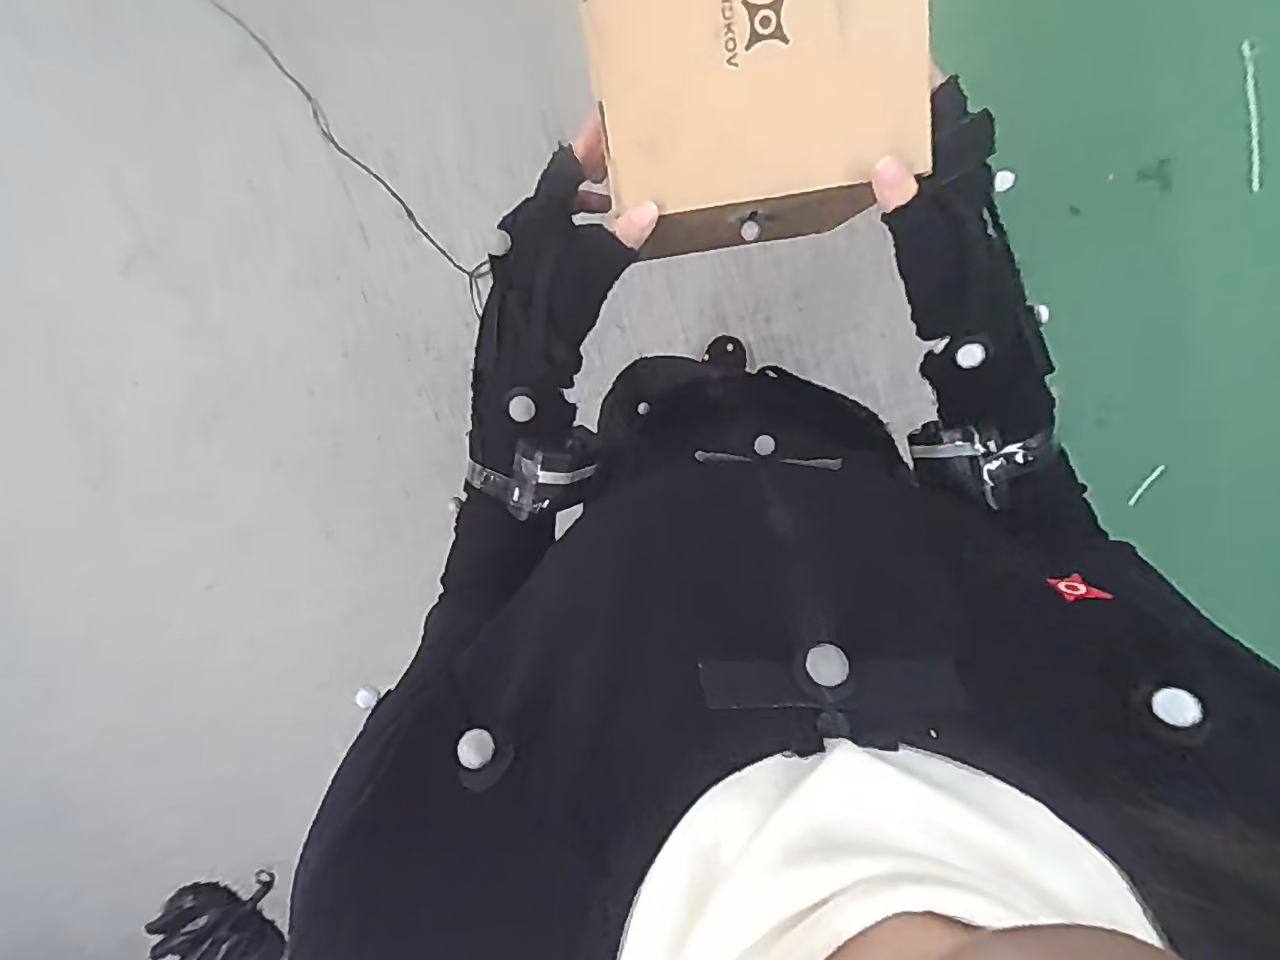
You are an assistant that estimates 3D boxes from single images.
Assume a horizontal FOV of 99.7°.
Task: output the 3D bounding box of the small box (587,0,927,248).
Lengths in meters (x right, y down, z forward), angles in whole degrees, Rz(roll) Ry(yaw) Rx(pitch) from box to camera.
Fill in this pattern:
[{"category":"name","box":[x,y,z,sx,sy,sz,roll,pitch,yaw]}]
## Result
[{"category":"small box","box":[0.062,-0.266,0.363,0.179,0.176,0.168,-9,104,1]}]
